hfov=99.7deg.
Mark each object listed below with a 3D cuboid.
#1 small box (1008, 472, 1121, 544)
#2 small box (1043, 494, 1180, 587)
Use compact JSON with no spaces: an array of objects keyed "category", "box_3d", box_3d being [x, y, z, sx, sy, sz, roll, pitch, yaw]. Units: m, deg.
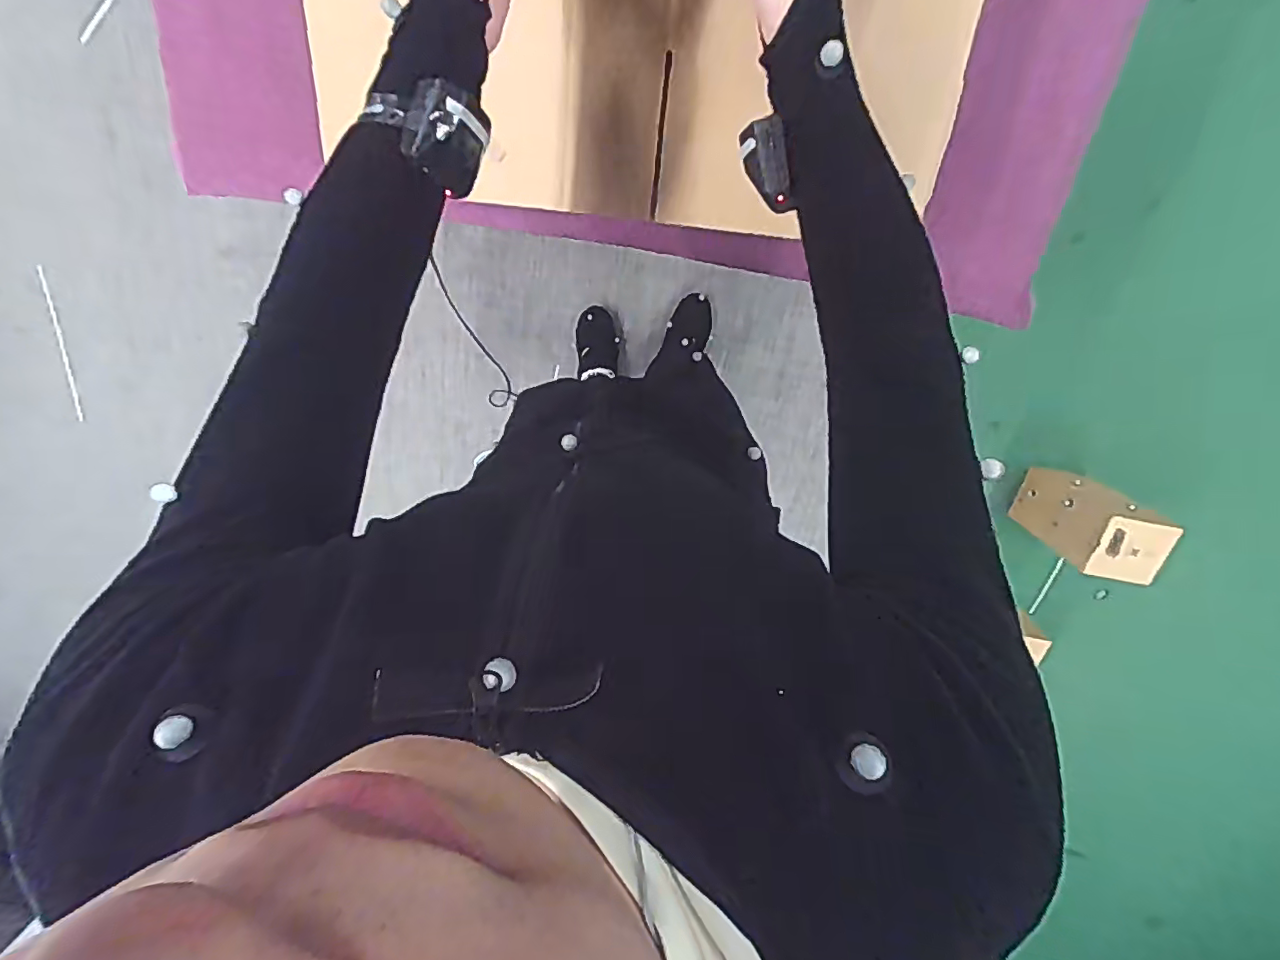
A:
[{"category":"small box","box_3d":[1.217,0.089,1.554,0.179,0.176,0.168,11,112,0]},{"category":"small box","box_3d":[1.207,0.150,1.403,0.179,0.176,0.168,10,113,-1]}]
